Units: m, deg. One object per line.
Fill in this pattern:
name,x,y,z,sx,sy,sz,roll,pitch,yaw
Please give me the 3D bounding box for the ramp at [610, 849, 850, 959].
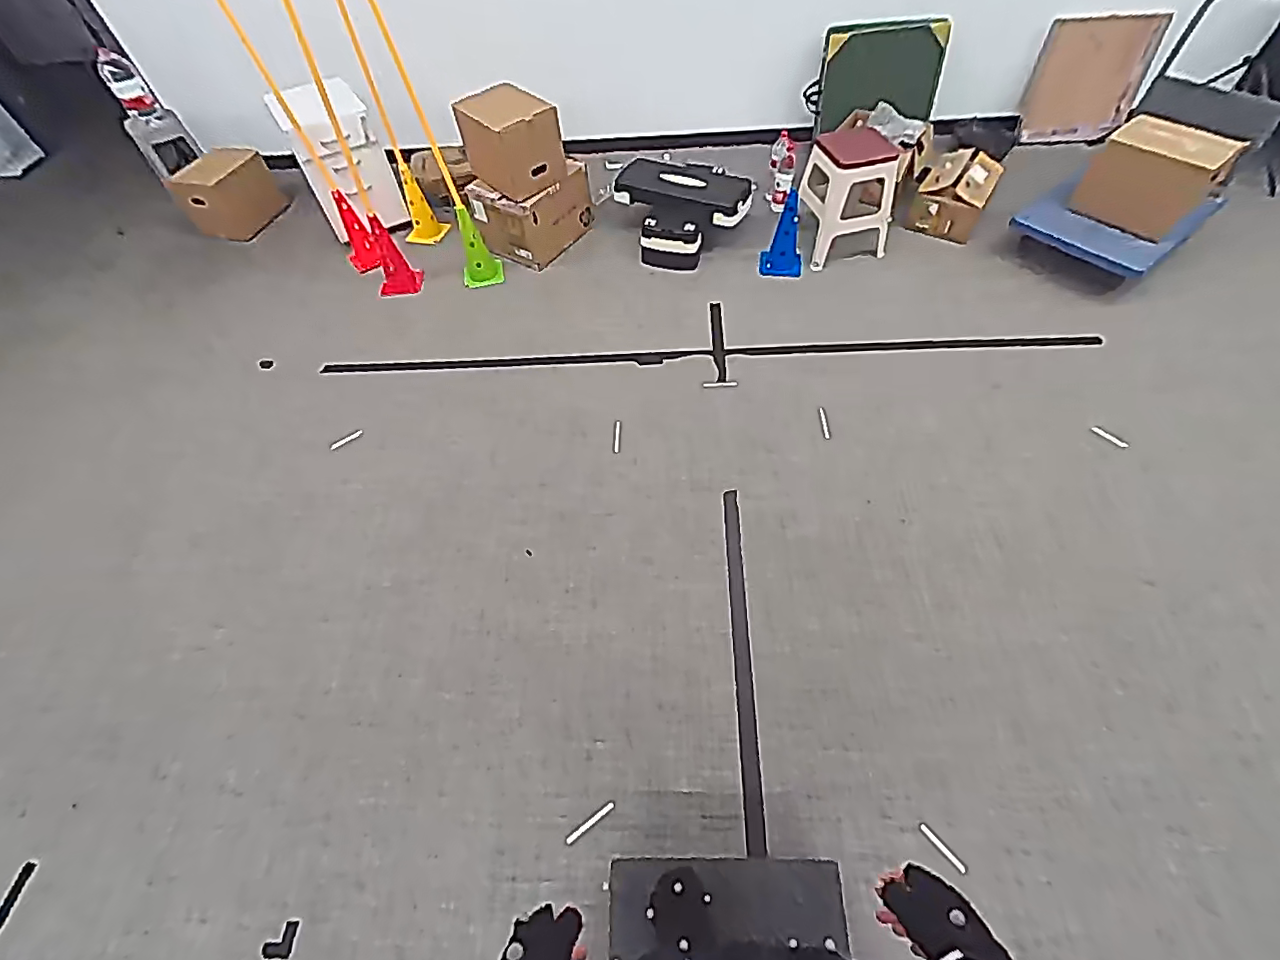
ramp,0.185,1.258,0.970,0.509,0.206,0.991,-2,55,1
